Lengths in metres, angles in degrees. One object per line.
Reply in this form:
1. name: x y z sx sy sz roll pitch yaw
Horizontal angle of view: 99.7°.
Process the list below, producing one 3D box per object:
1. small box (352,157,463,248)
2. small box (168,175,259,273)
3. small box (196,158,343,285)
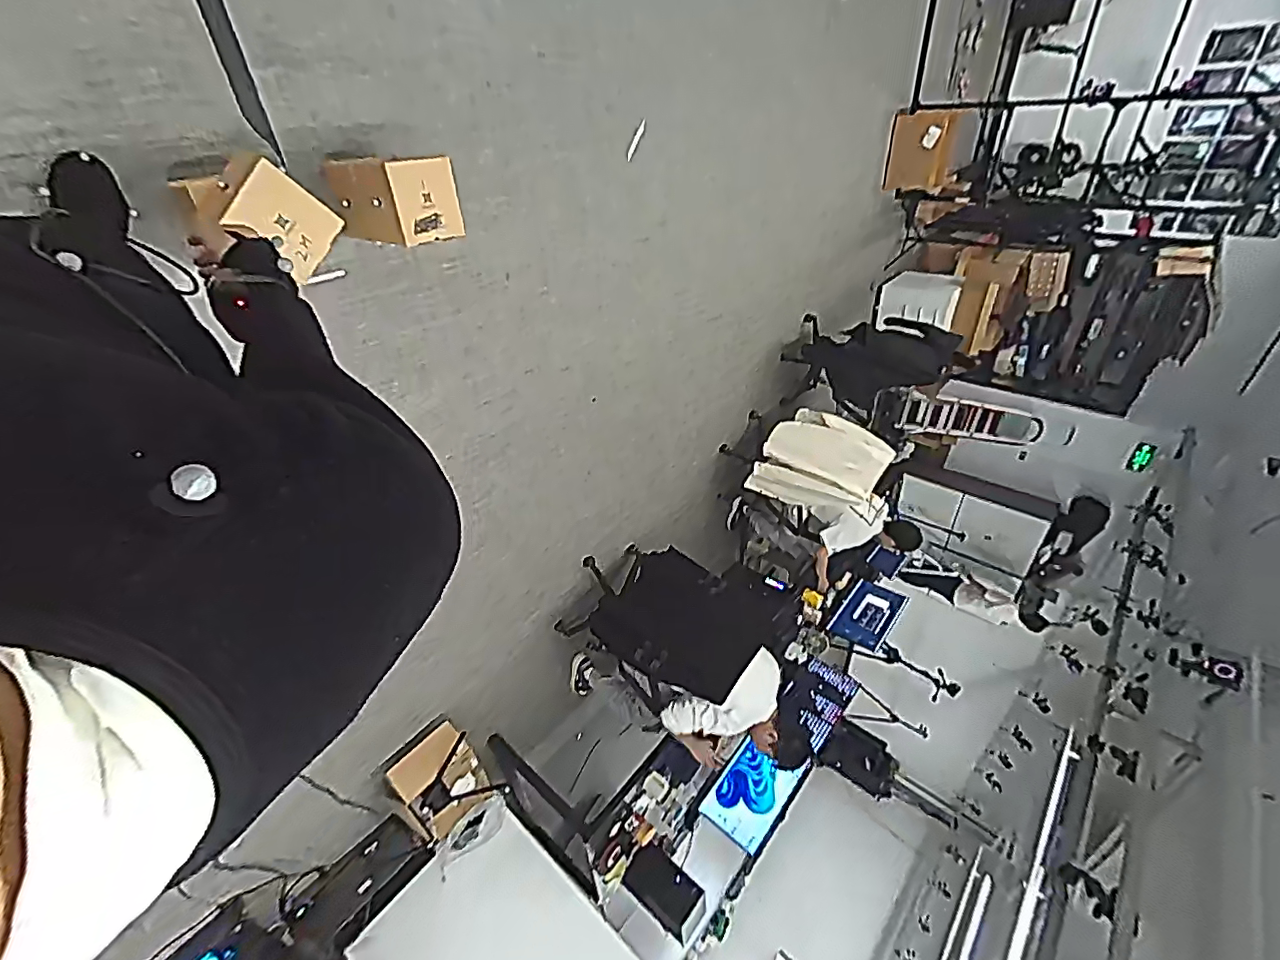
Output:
1. small box: -0.565 -0.682 1.320 0.168 0.176 0.179 -35 134 -37
2. small box: -0.907 -0.583 1.217 0.168 0.176 0.179 -38 137 -34
3. small box: -0.776 -0.537 1.130 0.168 0.176 0.179 -62 146 -5
